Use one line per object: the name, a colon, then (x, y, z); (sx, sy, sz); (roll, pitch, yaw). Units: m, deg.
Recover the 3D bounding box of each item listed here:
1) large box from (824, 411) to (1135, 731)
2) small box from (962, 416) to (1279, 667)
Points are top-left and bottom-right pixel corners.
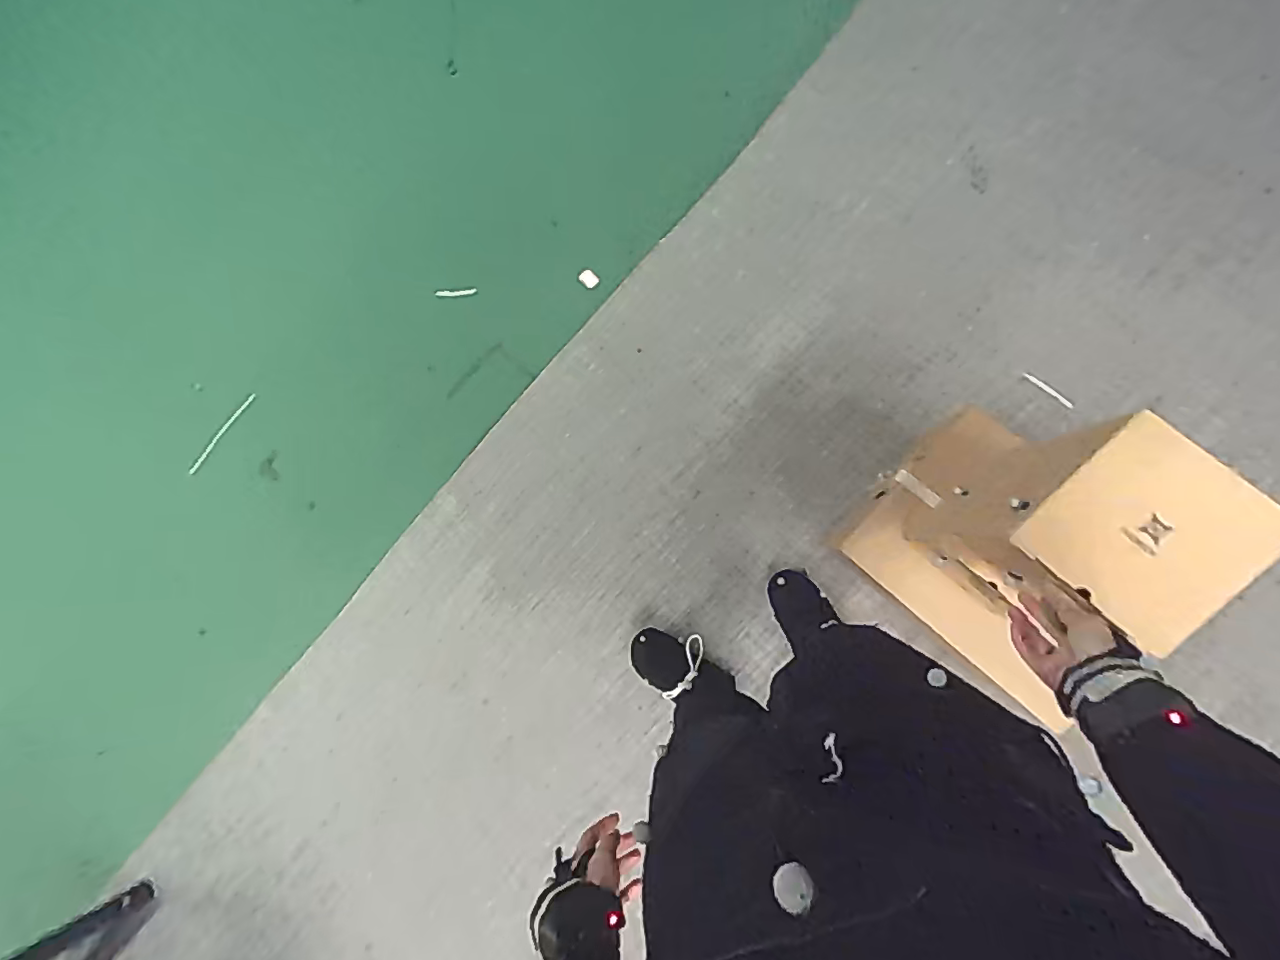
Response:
large box: (0.601, 0.140, 0.964); (0.408, 0.320, 0.320); (42, 96, 12)
small box: (0.490, 0.060, 0.577); (0.168, 0.176, 0.179); (45, 97, 12)
